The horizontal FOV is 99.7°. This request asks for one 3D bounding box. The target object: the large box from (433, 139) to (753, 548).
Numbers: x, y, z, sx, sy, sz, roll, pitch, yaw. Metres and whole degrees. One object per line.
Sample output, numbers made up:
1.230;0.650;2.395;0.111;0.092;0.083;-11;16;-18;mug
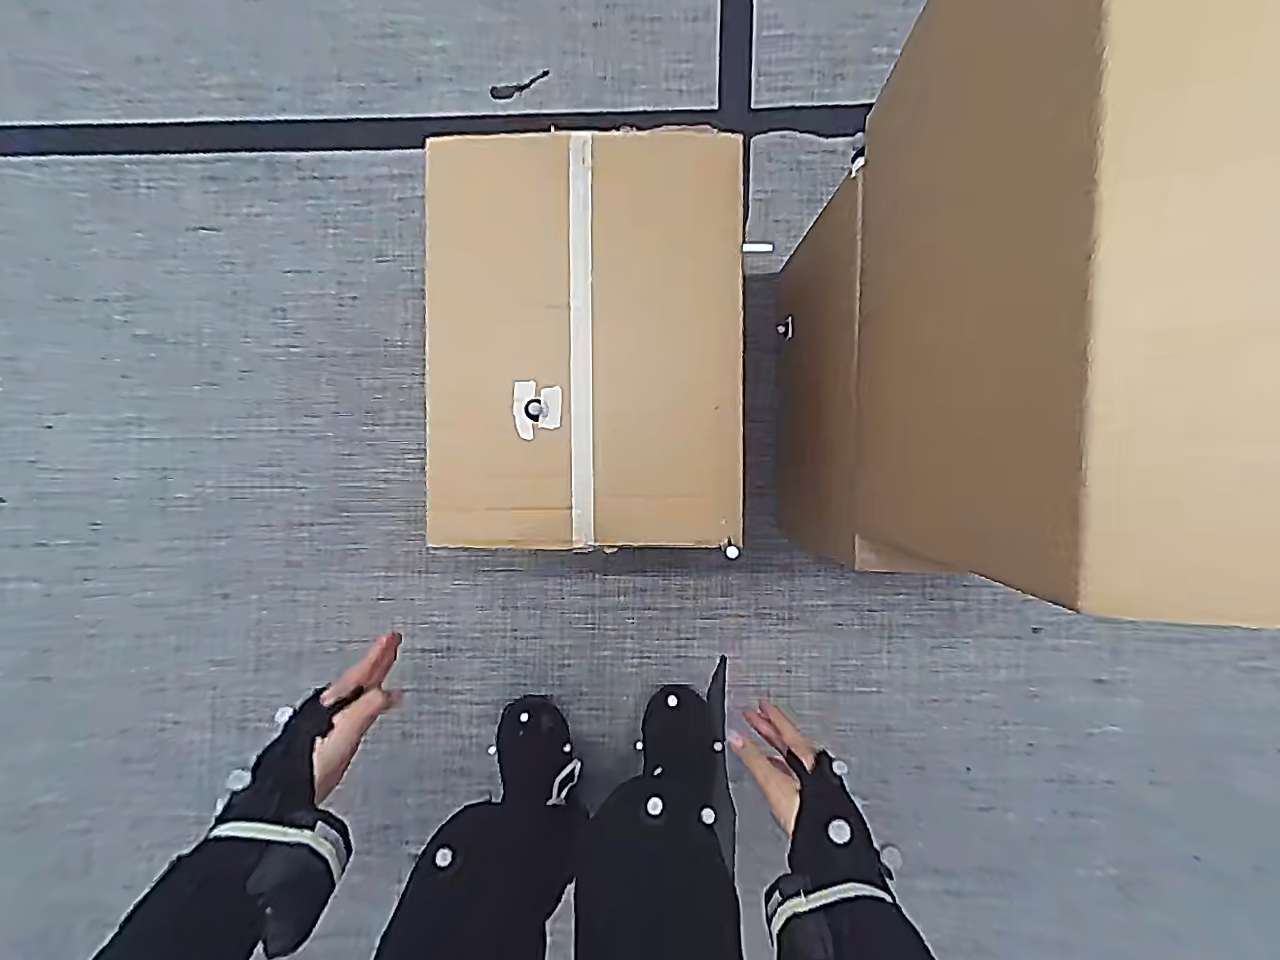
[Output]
-0.045;-0.138;0.683;0.320;0.320;0.408;-1;91;1;large box
